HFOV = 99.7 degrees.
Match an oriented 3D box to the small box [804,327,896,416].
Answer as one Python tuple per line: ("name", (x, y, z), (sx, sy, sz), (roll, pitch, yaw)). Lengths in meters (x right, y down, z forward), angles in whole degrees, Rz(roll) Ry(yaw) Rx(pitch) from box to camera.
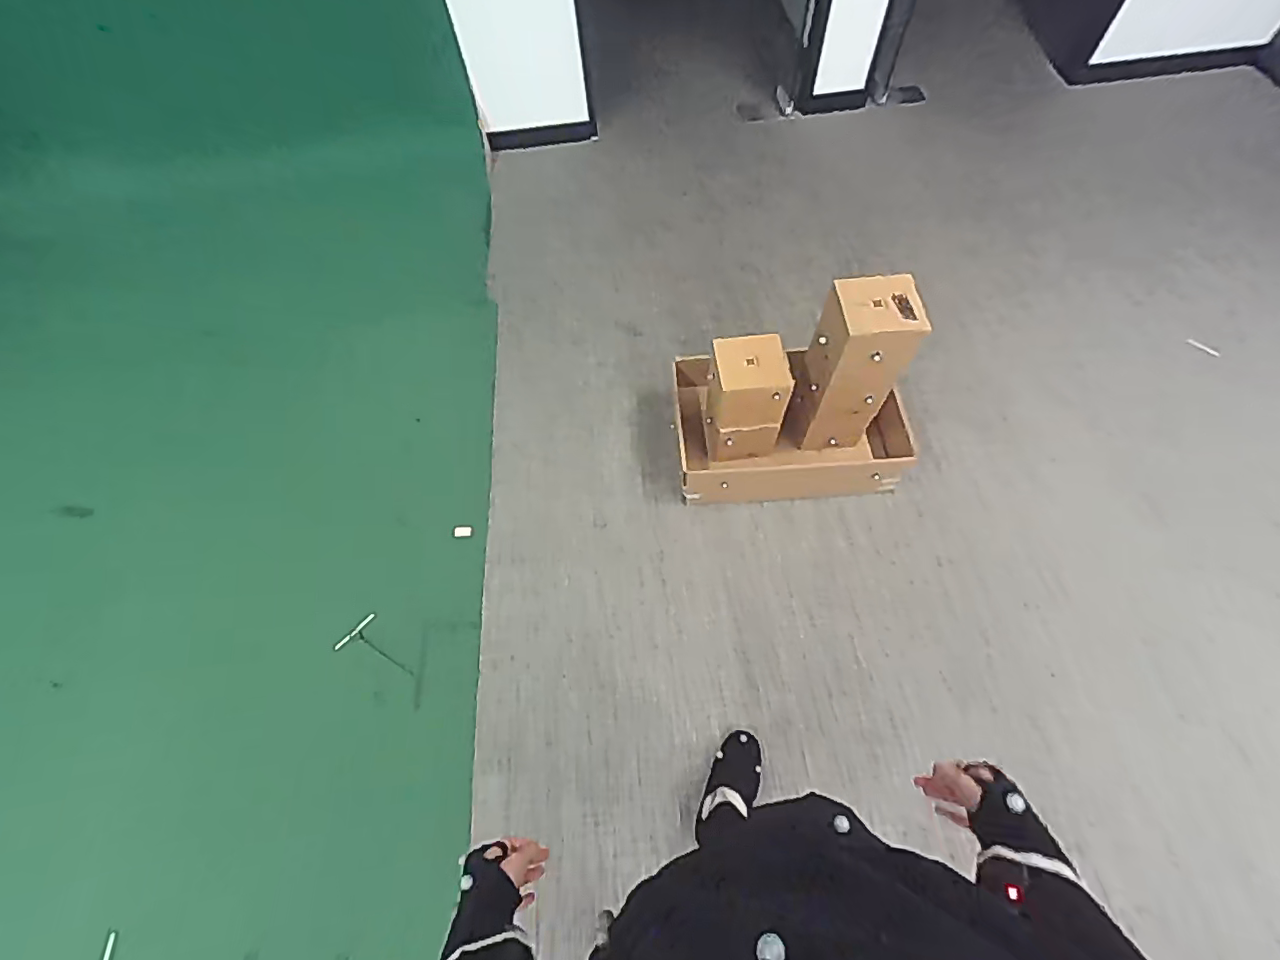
("small box", (0.534, -0.279, 1.400), (0.168, 0.176, 0.179), (-4, 63, 2))

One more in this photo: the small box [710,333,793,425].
("small box", (0.280, -0.256, 1.406), (0.179, 0.176, 0.168), (-6, 63, -1))

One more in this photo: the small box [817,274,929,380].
("small box", (0.529, -0.349, 1.252), (0.179, 0.176, 0.168), (-4, 63, 3))
